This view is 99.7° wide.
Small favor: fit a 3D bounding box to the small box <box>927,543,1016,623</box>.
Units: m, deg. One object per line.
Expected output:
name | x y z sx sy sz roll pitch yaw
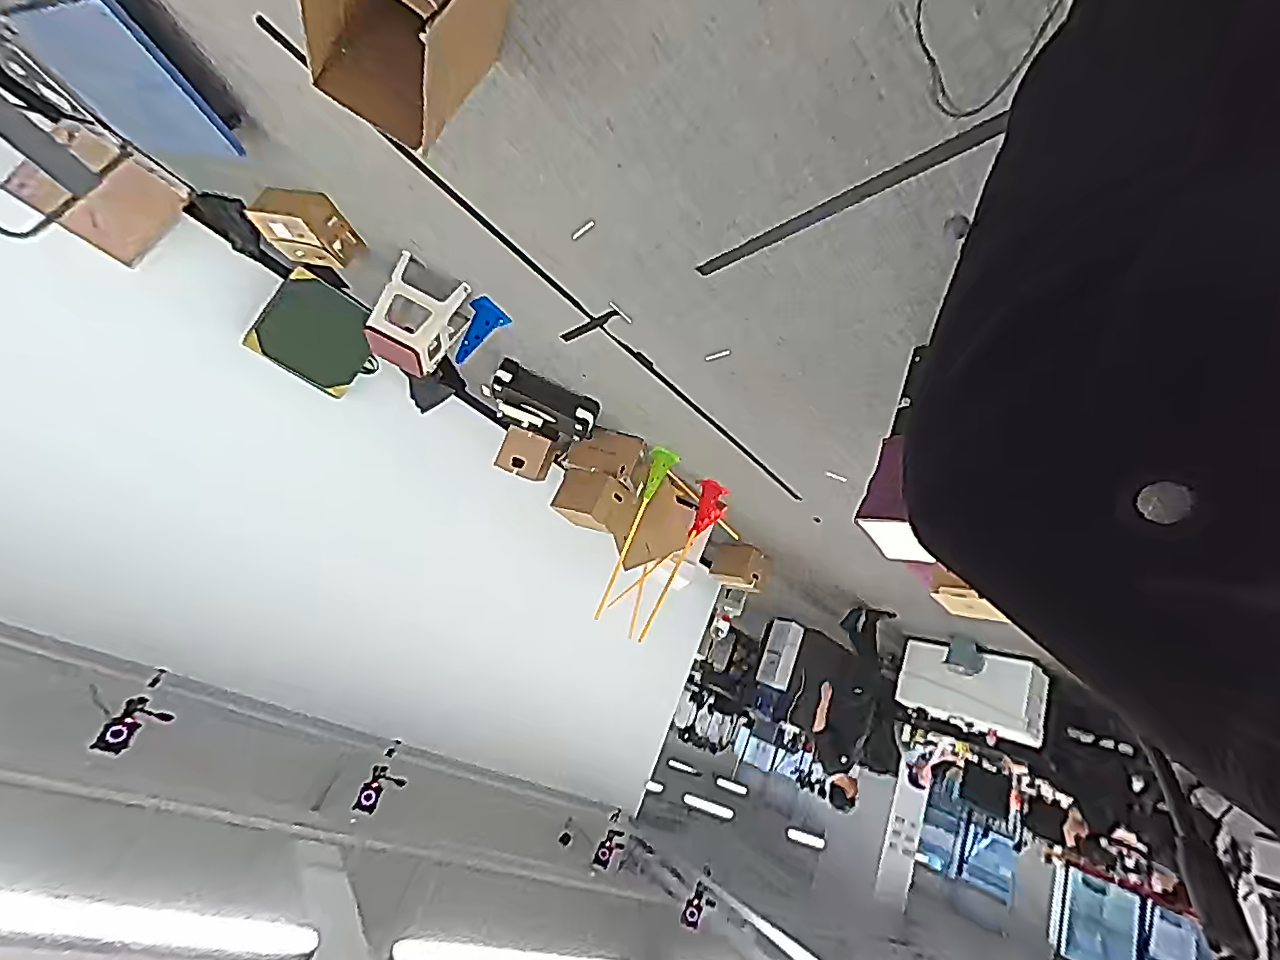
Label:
small box | 0.972 0.294 1.582 0.179 0.176 0.168 36 157 -31
